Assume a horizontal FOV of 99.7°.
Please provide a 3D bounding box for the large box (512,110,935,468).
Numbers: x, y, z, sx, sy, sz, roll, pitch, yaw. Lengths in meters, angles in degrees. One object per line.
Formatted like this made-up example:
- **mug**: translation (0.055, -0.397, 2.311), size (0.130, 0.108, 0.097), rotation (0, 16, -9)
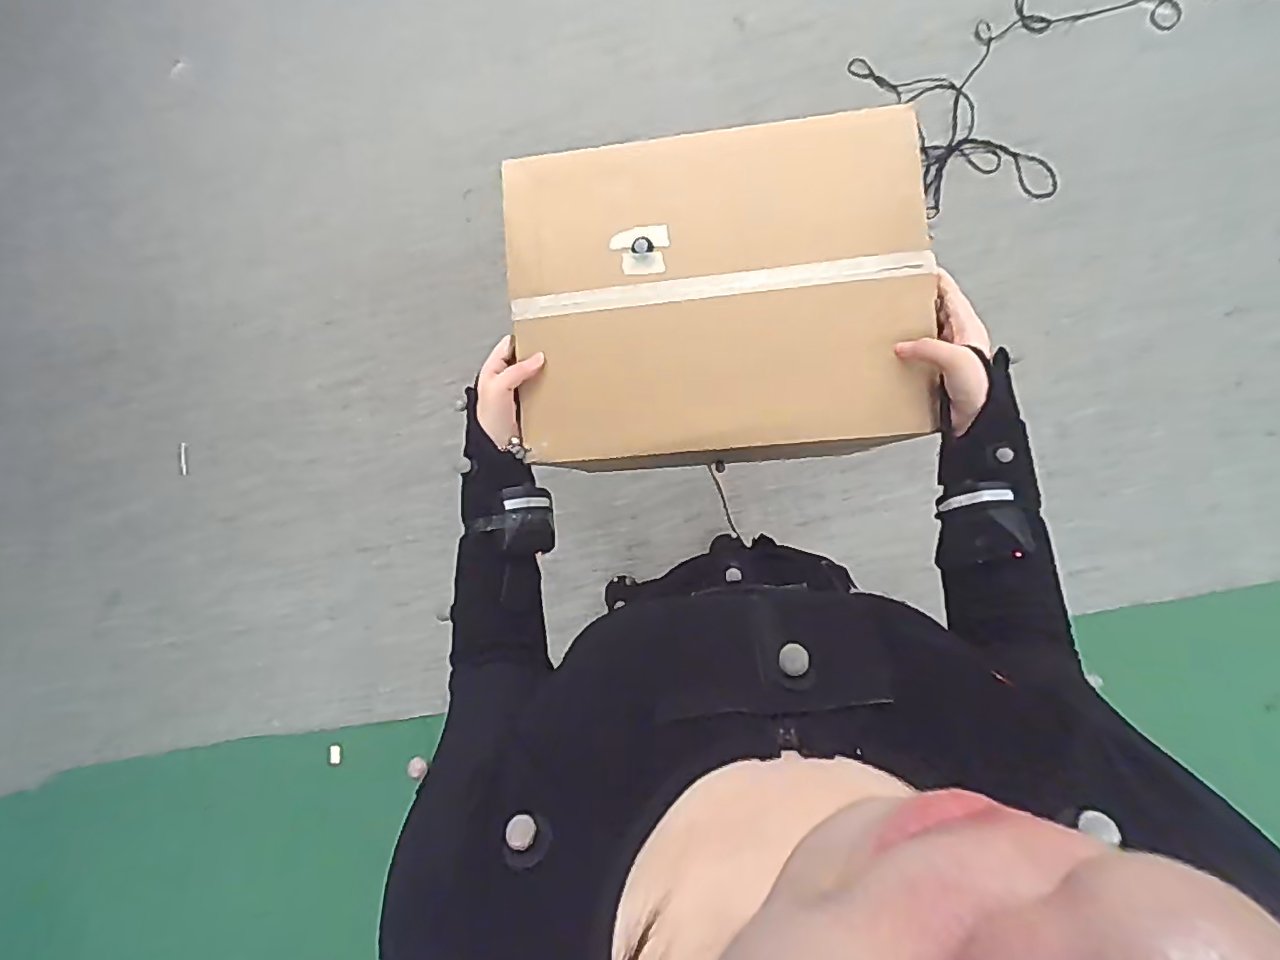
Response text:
- **large box**: translation (0.094, -0.186, 0.688), size (0.408, 0.320, 0.320), rotation (-5, 88, 8)
